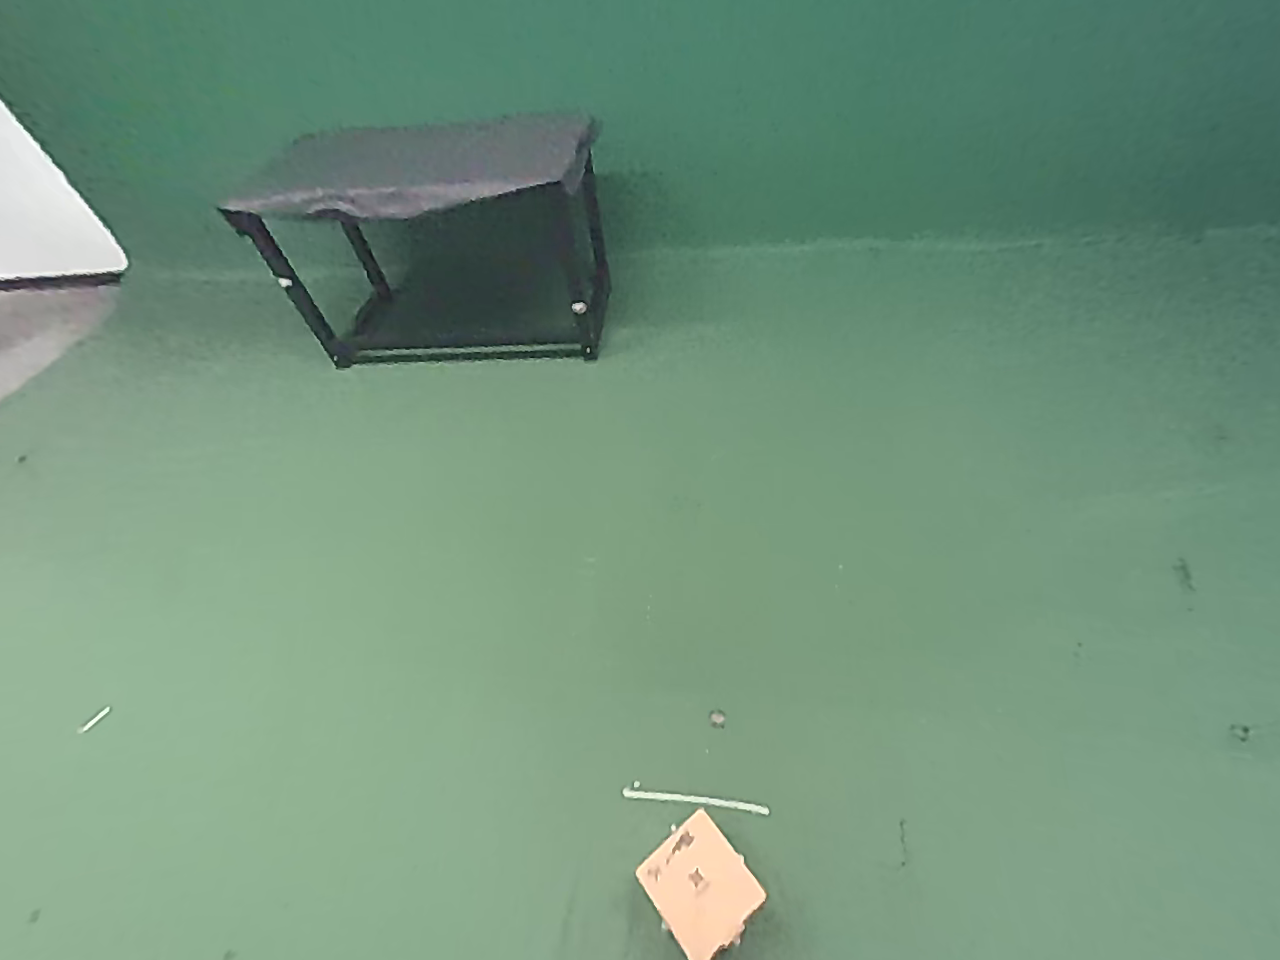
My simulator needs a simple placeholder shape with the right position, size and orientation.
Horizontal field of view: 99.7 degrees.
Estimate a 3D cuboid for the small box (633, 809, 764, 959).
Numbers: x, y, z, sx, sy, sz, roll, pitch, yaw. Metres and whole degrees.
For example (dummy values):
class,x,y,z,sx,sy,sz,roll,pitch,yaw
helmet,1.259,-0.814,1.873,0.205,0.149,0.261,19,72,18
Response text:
class,x,y,z,sx,sy,sz,roll,pitch,yaw
small box,0.110,0.763,1.016,0.168,0.176,0.179,-33,54,-20
